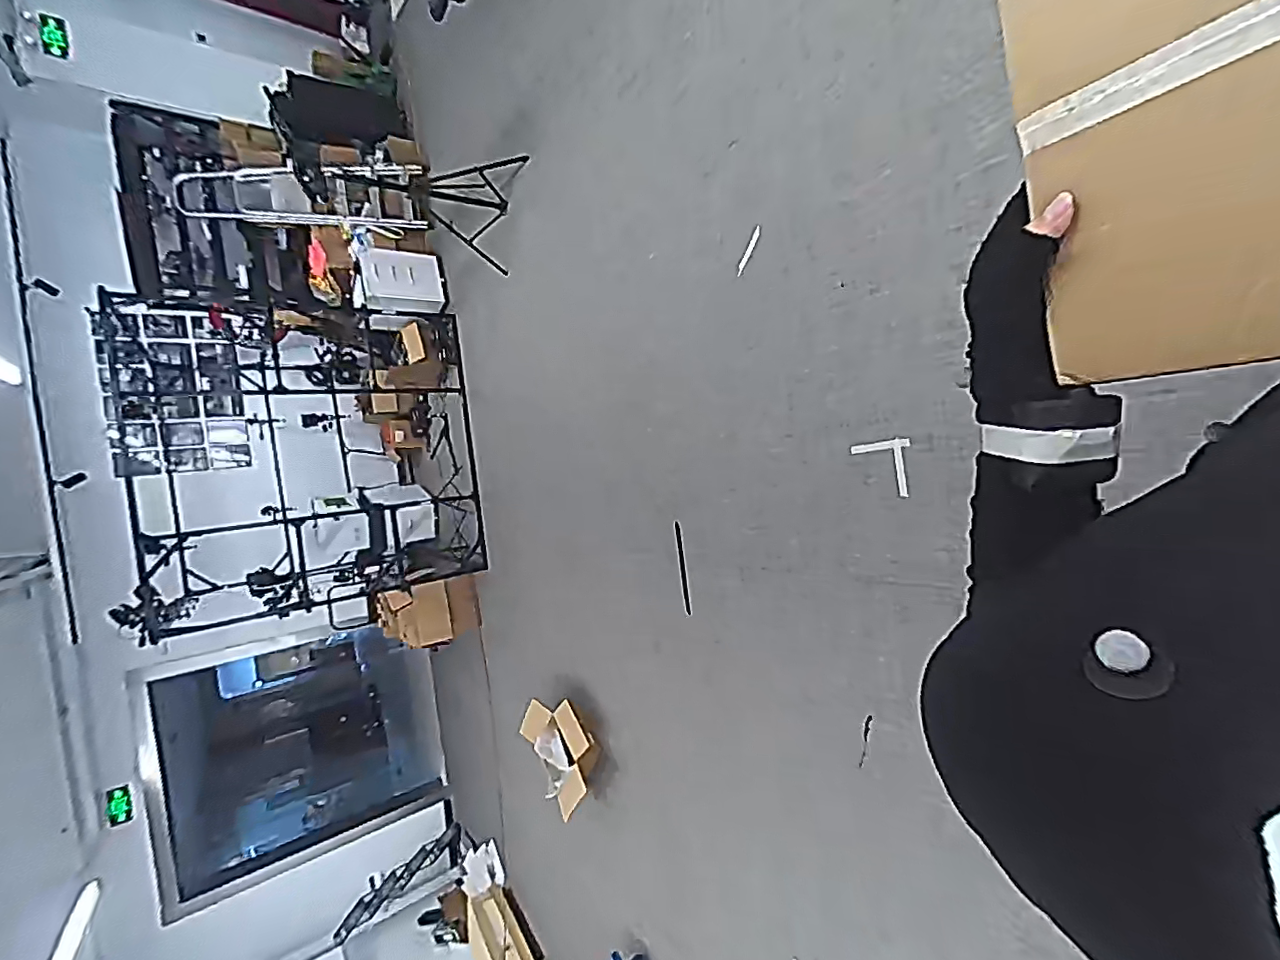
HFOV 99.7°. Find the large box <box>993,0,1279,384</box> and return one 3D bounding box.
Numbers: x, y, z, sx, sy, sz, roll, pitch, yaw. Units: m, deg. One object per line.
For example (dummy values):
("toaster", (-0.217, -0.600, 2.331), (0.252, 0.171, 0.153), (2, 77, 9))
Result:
("large box", (0.469, -0.261, 0.258), (0.408, 0.320, 0.320), (-3, 102, 57))
